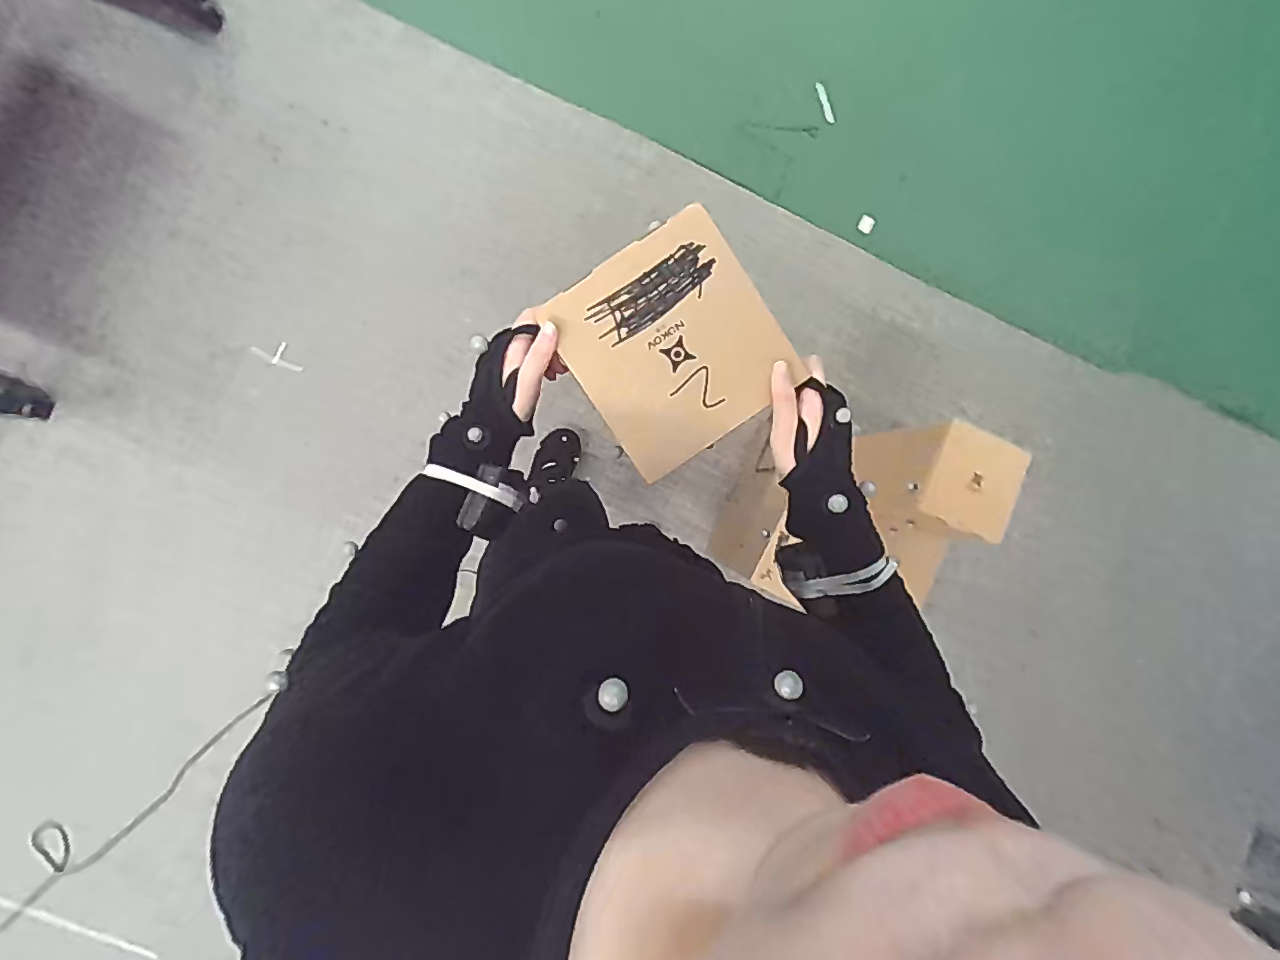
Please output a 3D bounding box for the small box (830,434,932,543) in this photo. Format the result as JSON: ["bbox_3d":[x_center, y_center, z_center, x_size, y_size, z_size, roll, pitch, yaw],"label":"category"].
[{"bbox_3d":[0.537,0.020,1.168,0.168,0.176,0.179,23,86,-6],"label":"small box"}]

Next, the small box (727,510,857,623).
[{"bbox_3d":[0.311,0.171,1.139,0.179,0.176,0.168,29,87,-5],"label":"small box"}]

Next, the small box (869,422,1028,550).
[{"bbox_3d":[0.562,0.012,1.008,0.168,0.176,0.179,23,87,-6],"label":"small box"}]
